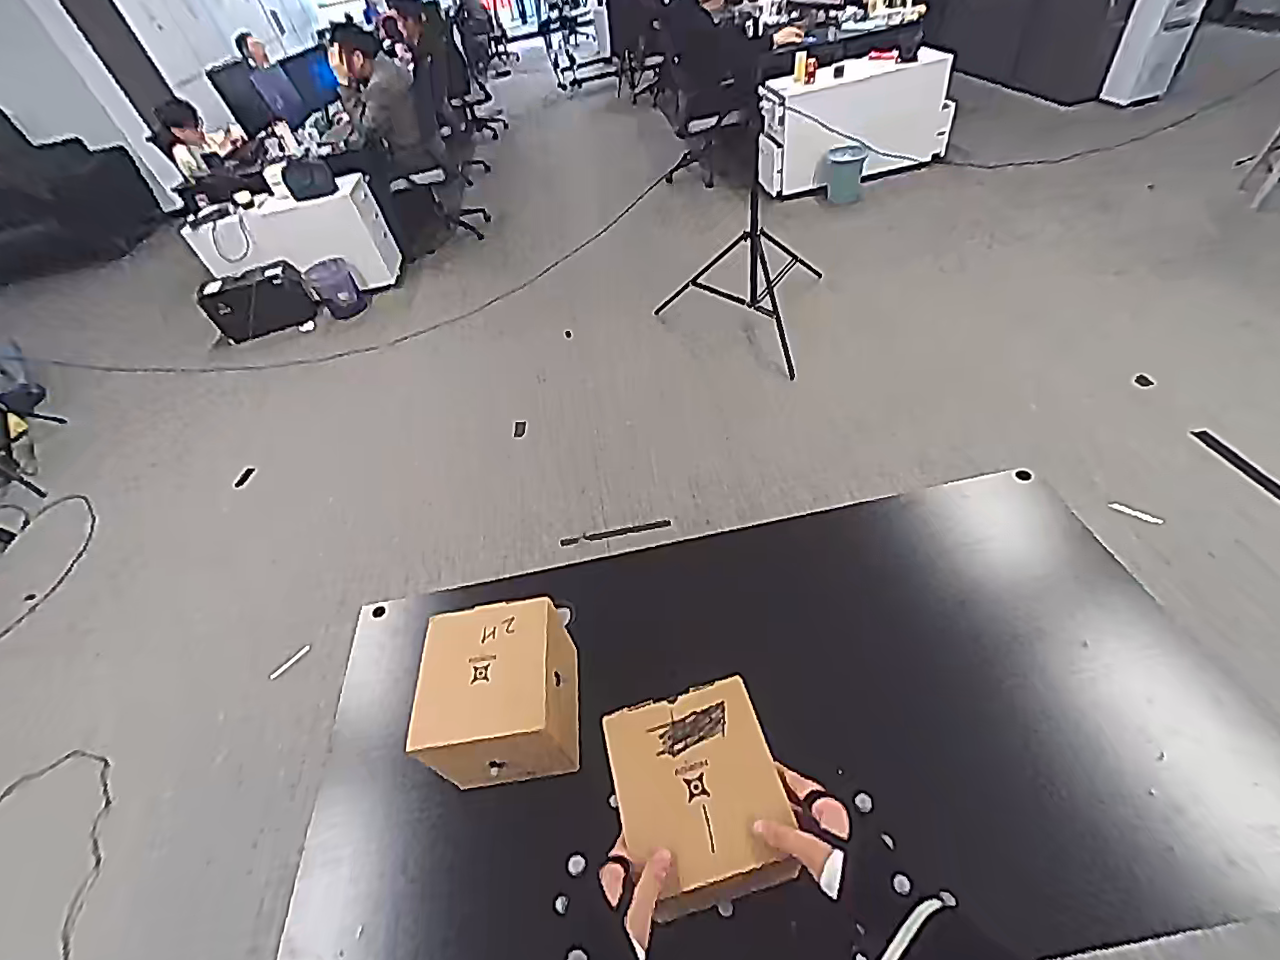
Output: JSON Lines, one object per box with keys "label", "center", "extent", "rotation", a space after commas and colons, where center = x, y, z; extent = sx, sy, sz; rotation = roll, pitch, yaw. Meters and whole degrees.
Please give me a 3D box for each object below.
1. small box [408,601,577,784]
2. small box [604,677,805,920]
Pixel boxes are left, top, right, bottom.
{"label": "small box", "center": [-0.183, 0.293, 0.731], "extent": [0.168, 0.176, 0.179], "rotation": [-10, 46, 2]}
{"label": "small box", "center": [0.067, 0.358, 0.610], "extent": [0.168, 0.176, 0.179], "rotation": [-16, 46, -4]}
